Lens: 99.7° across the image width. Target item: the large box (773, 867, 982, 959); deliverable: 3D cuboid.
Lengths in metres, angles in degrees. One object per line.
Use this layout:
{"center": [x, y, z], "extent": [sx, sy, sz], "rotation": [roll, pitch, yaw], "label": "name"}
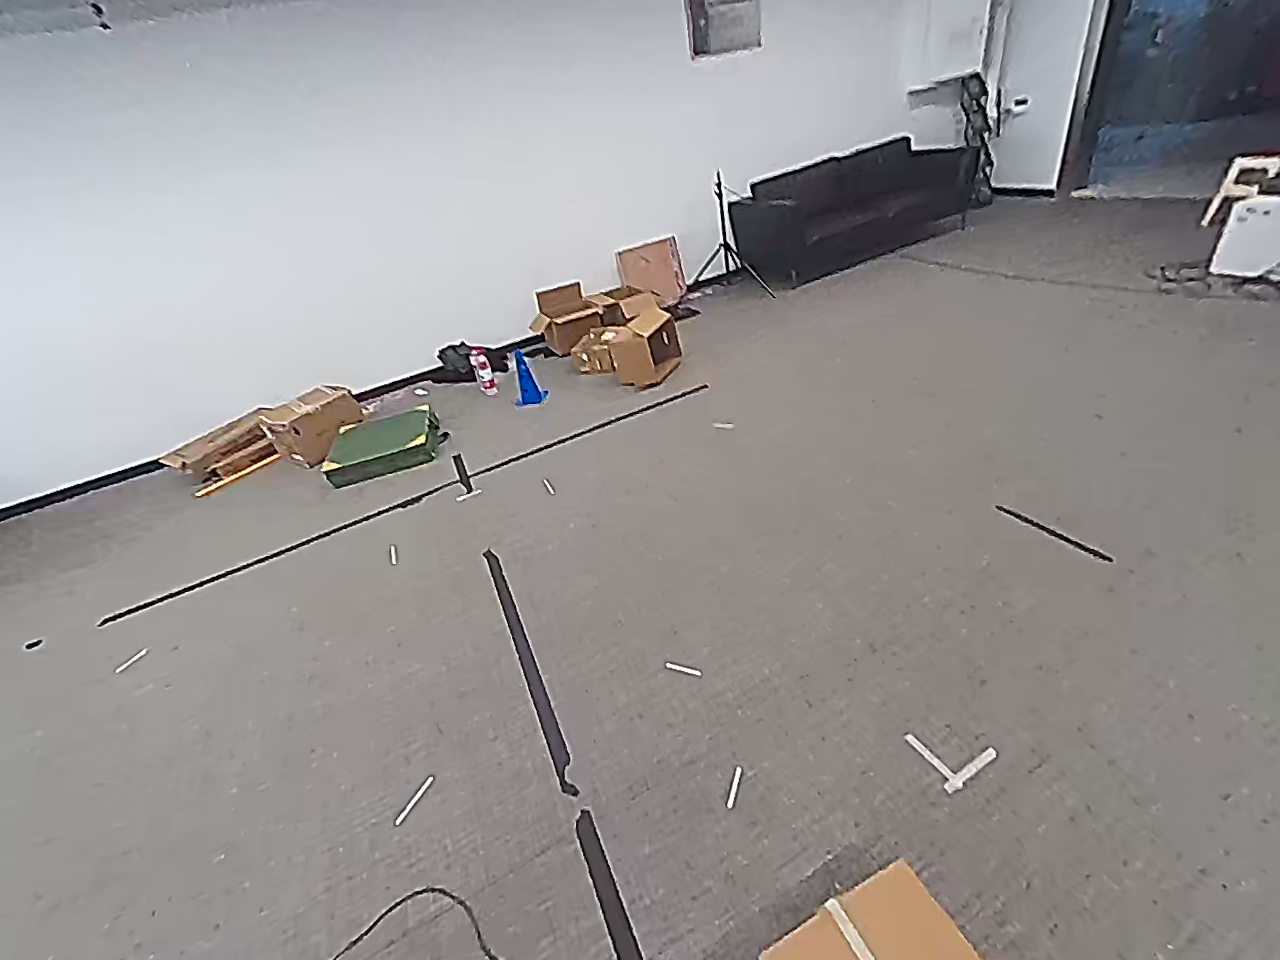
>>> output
{"center": [0.448, 0.955, 0.859], "extent": [0.320, 0.320, 0.408], "rotation": [-23, 35, -14], "label": "large box"}
